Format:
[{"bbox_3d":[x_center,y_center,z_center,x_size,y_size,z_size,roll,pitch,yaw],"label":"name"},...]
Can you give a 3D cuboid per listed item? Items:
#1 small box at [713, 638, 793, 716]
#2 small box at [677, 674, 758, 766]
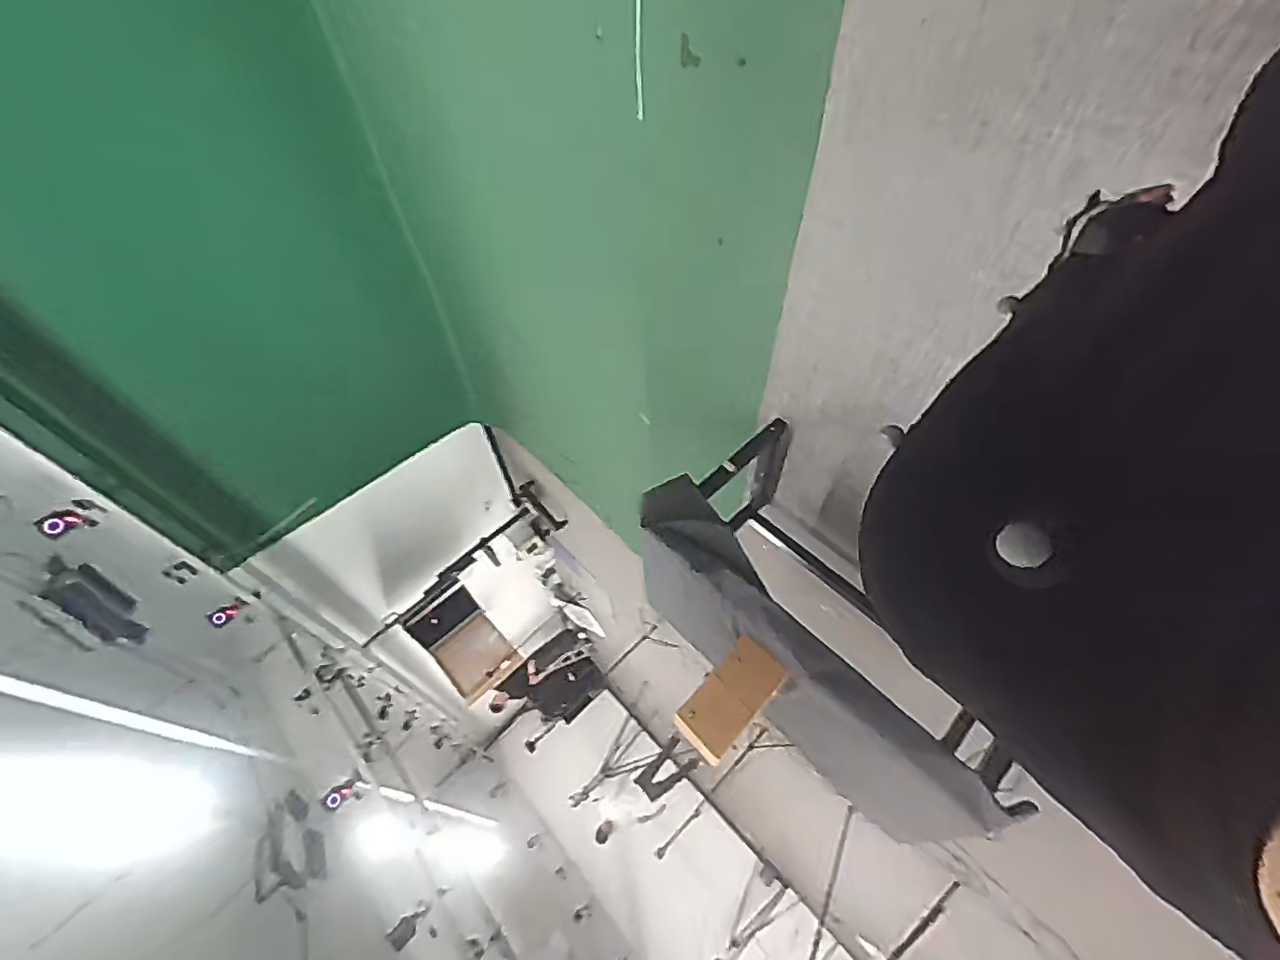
[{"bbox_3d":[0.344,0.617,1.682,0.179,0.176,0.168,39,156,27],"label":"small box"},{"bbox_3d":[0.232,0.717,1.622,0.179,0.176,0.168,42,157,26],"label":"small box"}]
